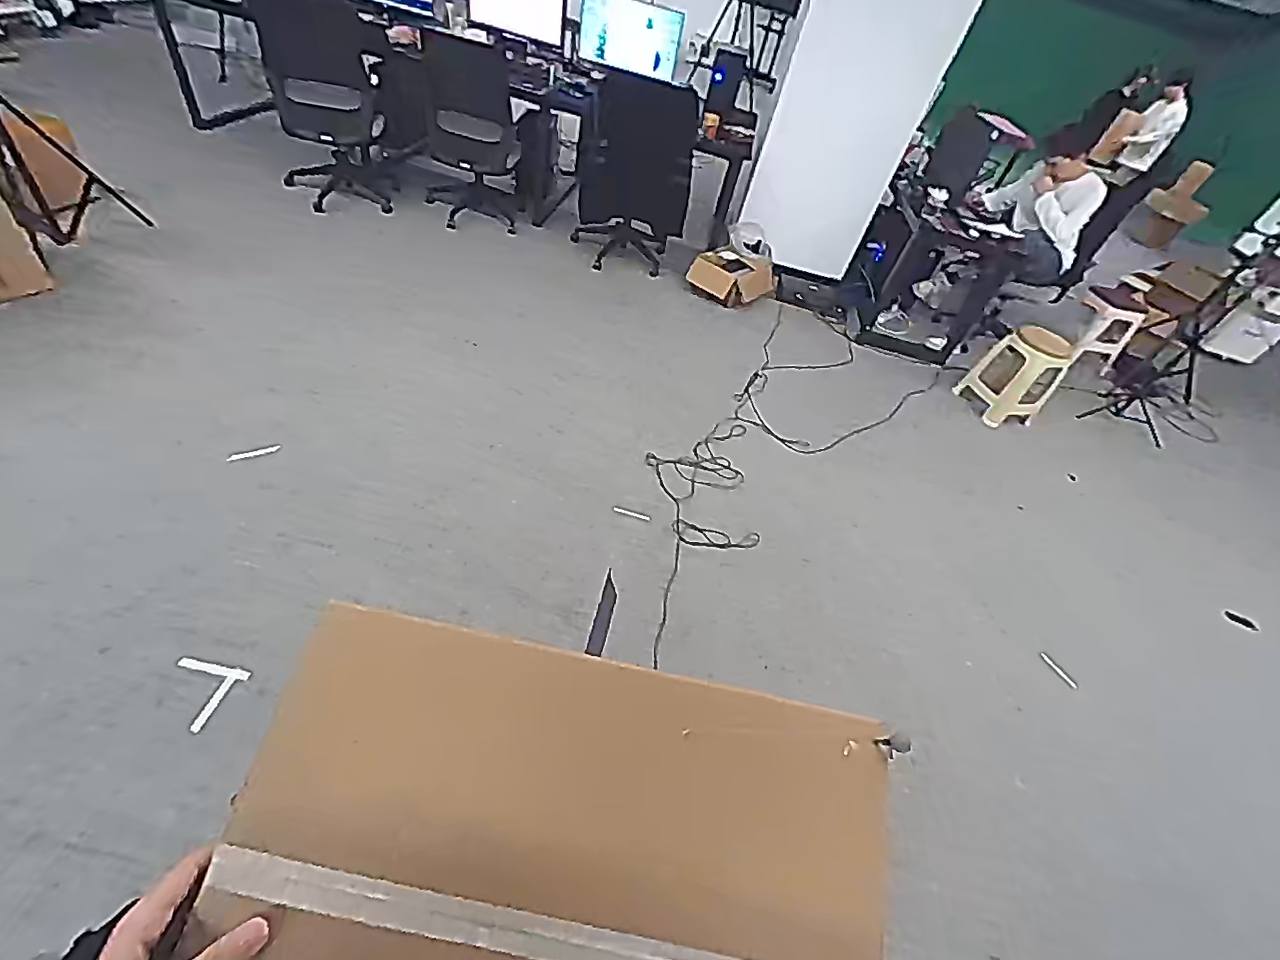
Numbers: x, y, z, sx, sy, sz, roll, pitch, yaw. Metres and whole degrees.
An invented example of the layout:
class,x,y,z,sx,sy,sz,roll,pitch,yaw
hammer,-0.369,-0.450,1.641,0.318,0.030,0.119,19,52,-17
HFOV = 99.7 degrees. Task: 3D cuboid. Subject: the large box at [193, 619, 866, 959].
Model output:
class,x,y,z,sx,sy,sz,roll,pitch,yaw
large box,-0.071,0.329,0.471,0.408,0.320,0.320,12,69,-1
